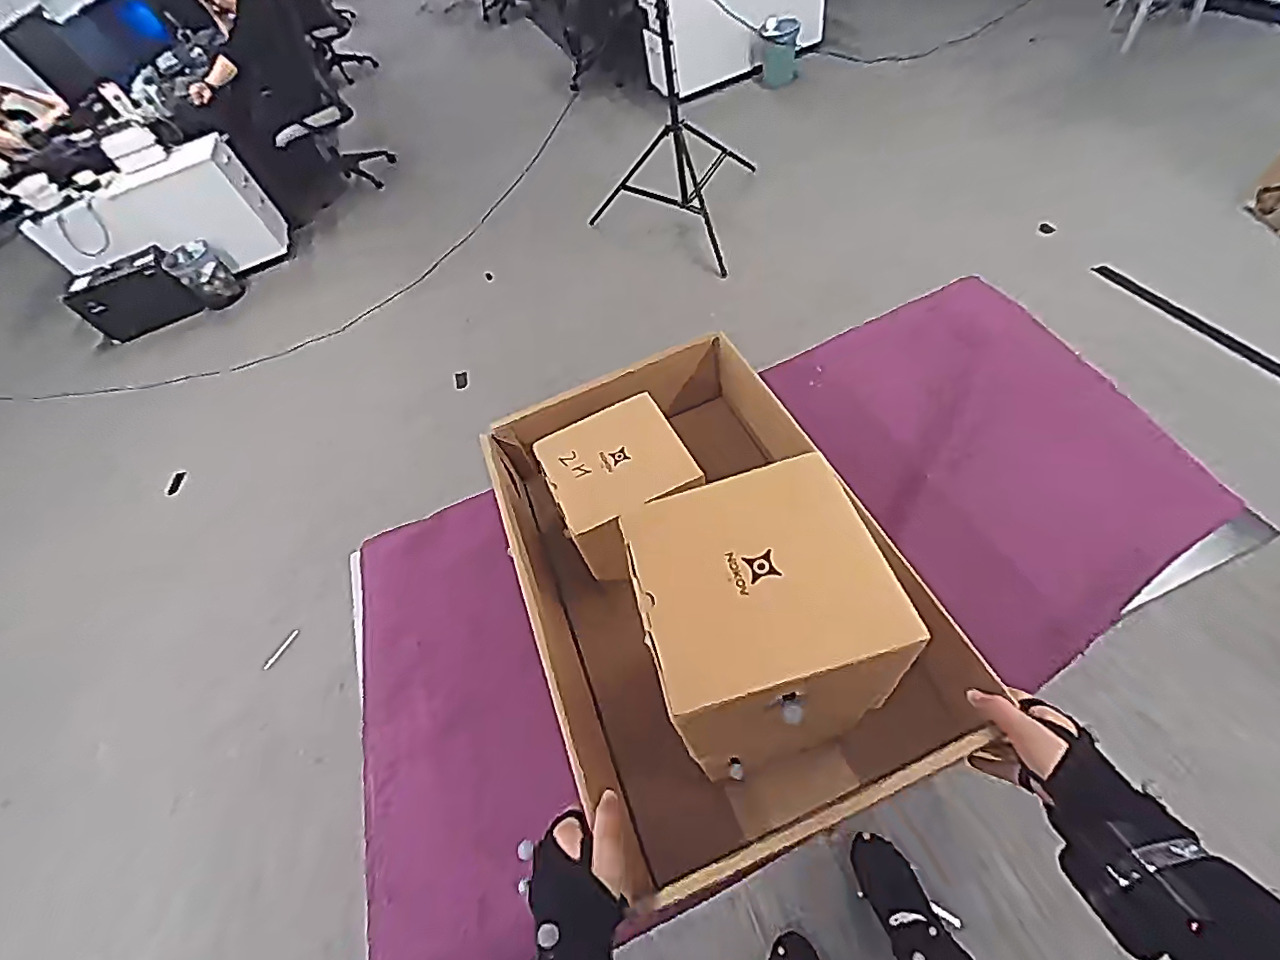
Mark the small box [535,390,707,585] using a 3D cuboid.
[{"bbox_3d":[-0.019,0.014,0.746,0.179,0.176,0.168,-25,54,-7],"label":"small box"}]
